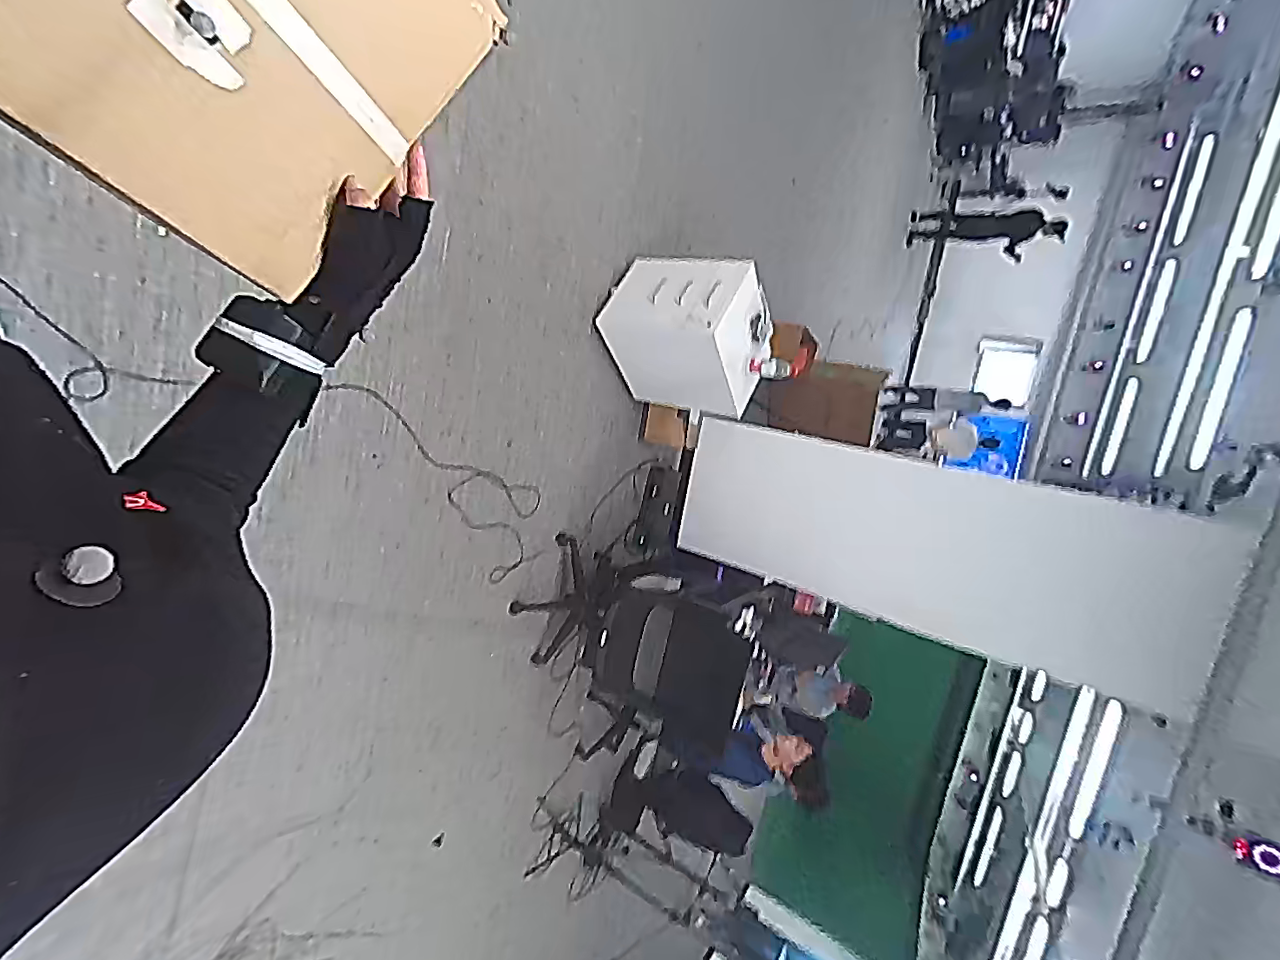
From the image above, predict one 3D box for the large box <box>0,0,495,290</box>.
[{"bbox_3d":[-0.397,-0.412,0.373,0.320,0.320,0.408,-56,149,-5],"label":"large box"}]
